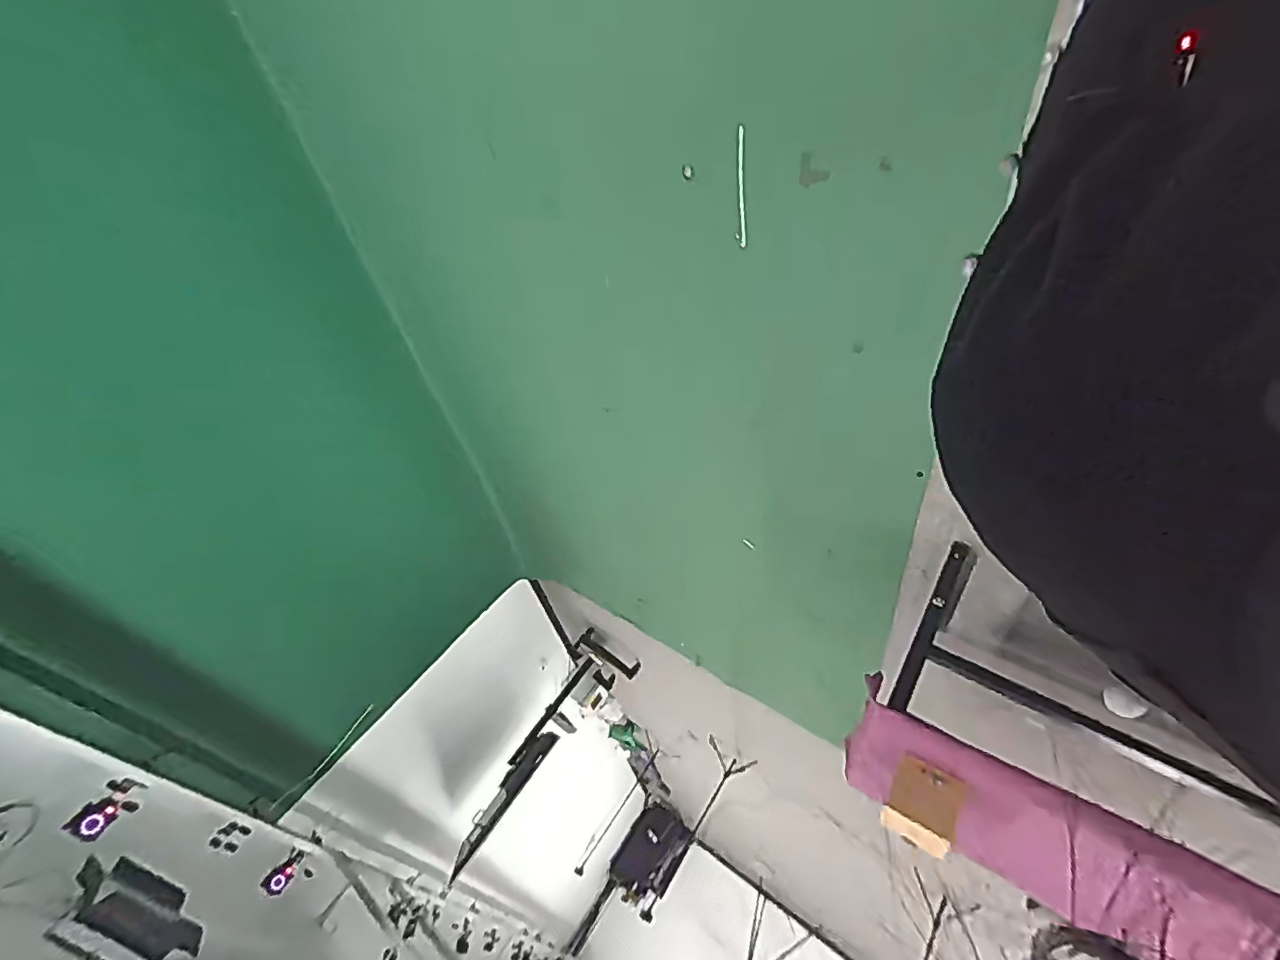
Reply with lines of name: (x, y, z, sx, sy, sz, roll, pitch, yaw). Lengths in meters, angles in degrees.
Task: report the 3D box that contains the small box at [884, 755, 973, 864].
small box: (0.785, 0.895, 1.476, 0.168, 0.176, 0.179, 19, 143, 33)
